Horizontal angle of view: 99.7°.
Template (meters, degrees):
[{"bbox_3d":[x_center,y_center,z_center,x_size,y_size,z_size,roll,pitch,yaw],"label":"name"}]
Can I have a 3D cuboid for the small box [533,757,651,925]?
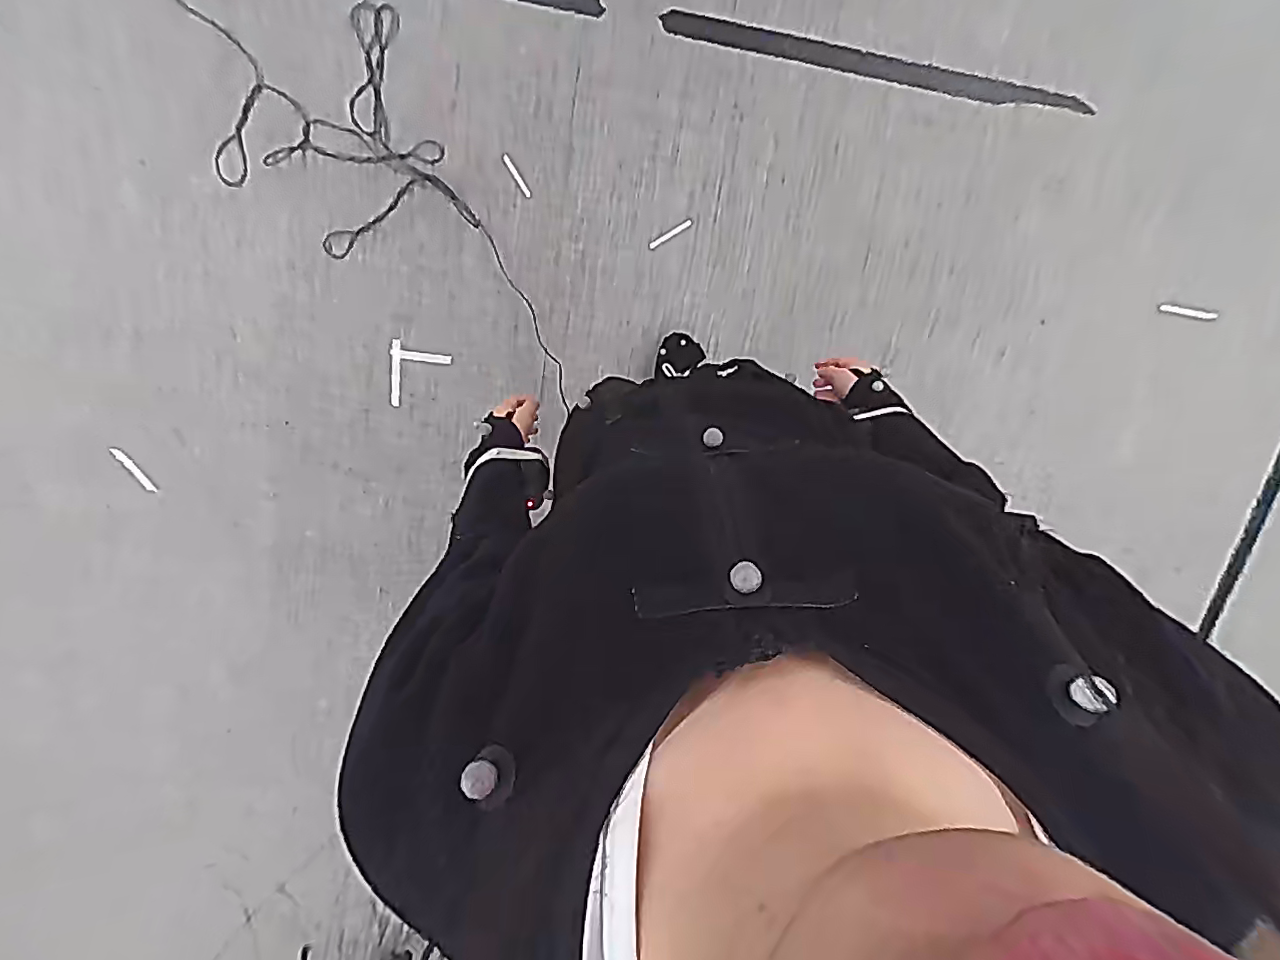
[{"bbox_3d":[-0.082,0.632,0.964,0.168,0.176,0.179,13,104,-3],"label":"small box"}]
